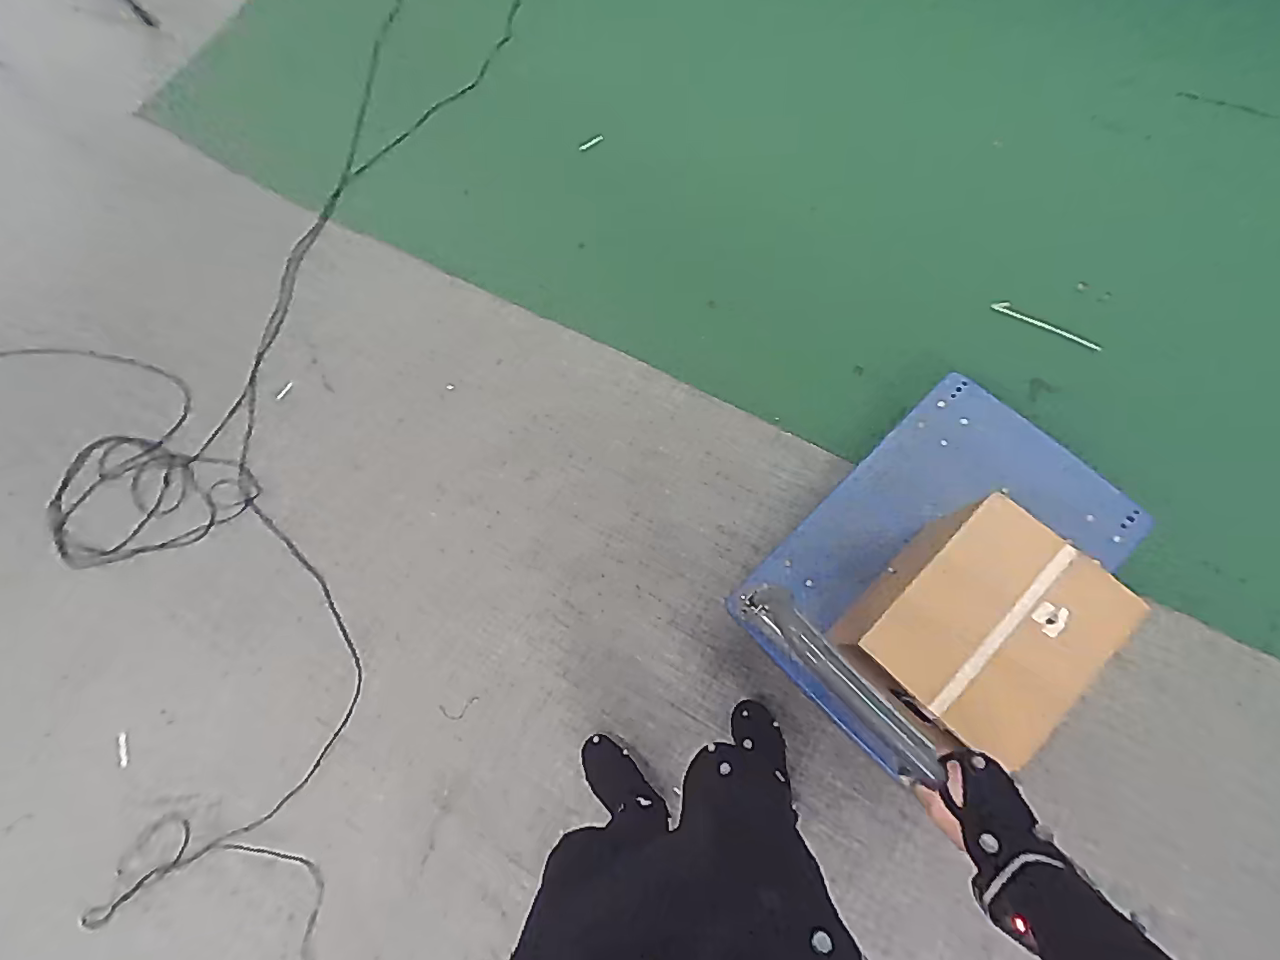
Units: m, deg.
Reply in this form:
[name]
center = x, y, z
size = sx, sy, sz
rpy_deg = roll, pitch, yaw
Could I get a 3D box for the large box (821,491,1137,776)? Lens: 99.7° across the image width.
[large box]
center = 0.645, 0.301, 1.101
size = 0.408, 0.320, 0.320
rpy_deg = -44, 76, -9
